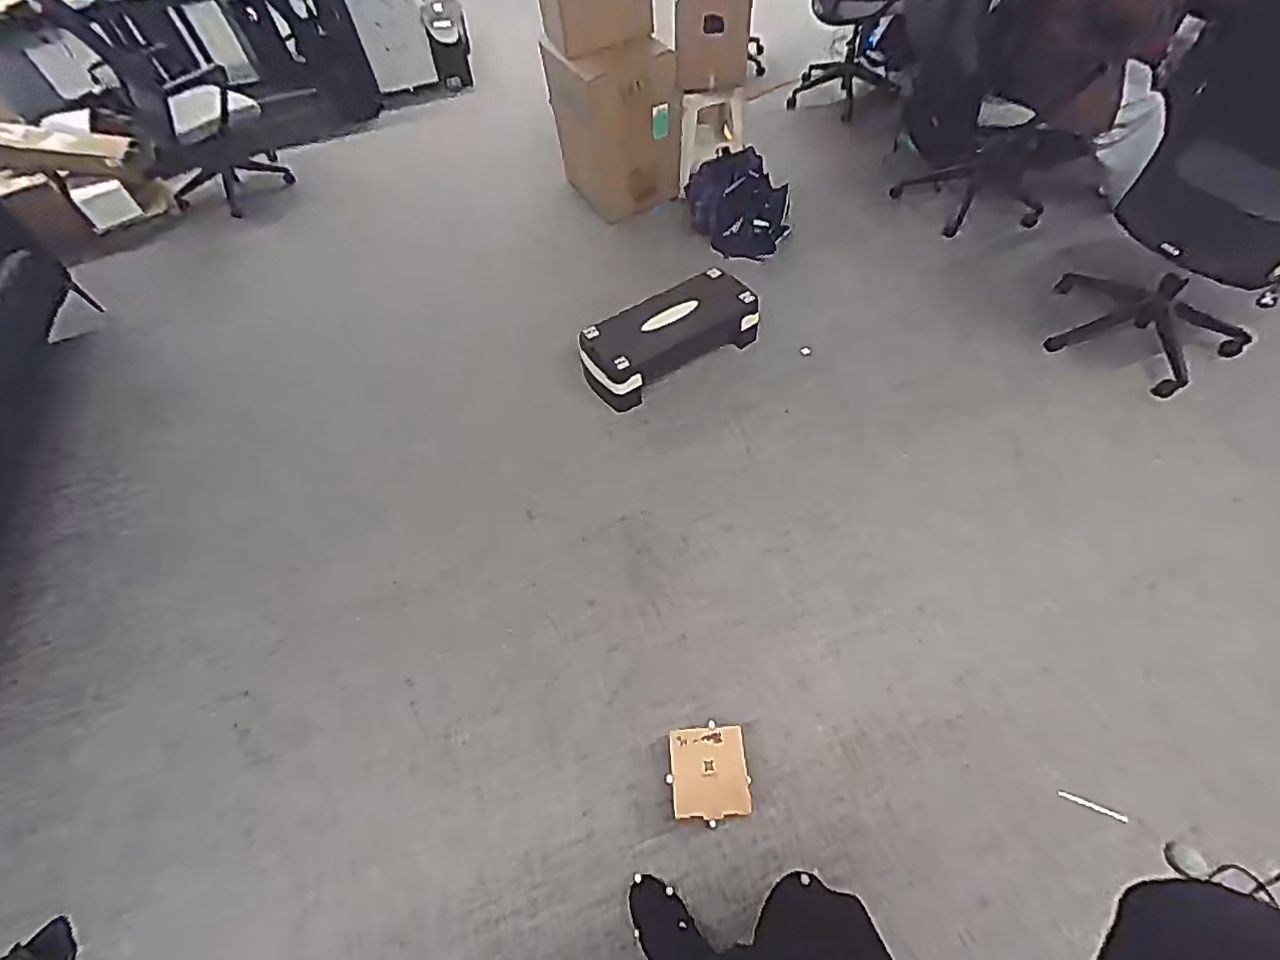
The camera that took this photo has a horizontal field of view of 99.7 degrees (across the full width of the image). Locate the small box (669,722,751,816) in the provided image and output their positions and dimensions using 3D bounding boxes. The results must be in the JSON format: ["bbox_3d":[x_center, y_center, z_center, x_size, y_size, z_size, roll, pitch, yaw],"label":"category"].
[{"bbox_3d":[0.159,0.671,1.250,0.168,0.176,0.179,-5,57,3],"label":"small box"}]
